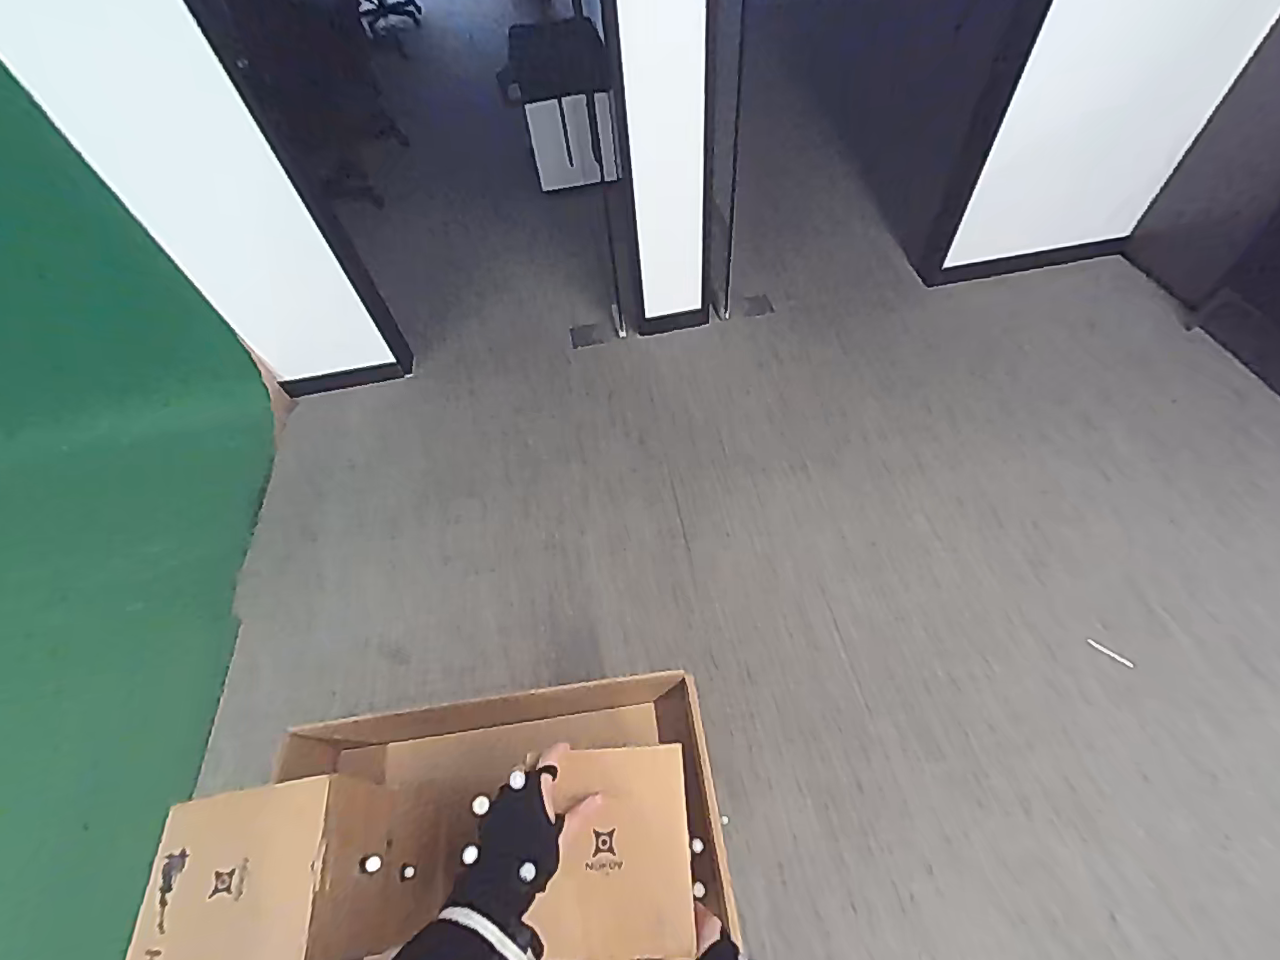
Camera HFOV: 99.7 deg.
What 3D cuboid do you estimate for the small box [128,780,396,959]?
[{"bbox_3d":[-0.395,0.446,0.599,0.179,0.176,0.168,-9,53,-2],"label":"small box"}]

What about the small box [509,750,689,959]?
[{"bbox_3d":[-0.033,0.401,0.588,0.168,0.176,0.179,-3,57,2],"label":"small box"}]
